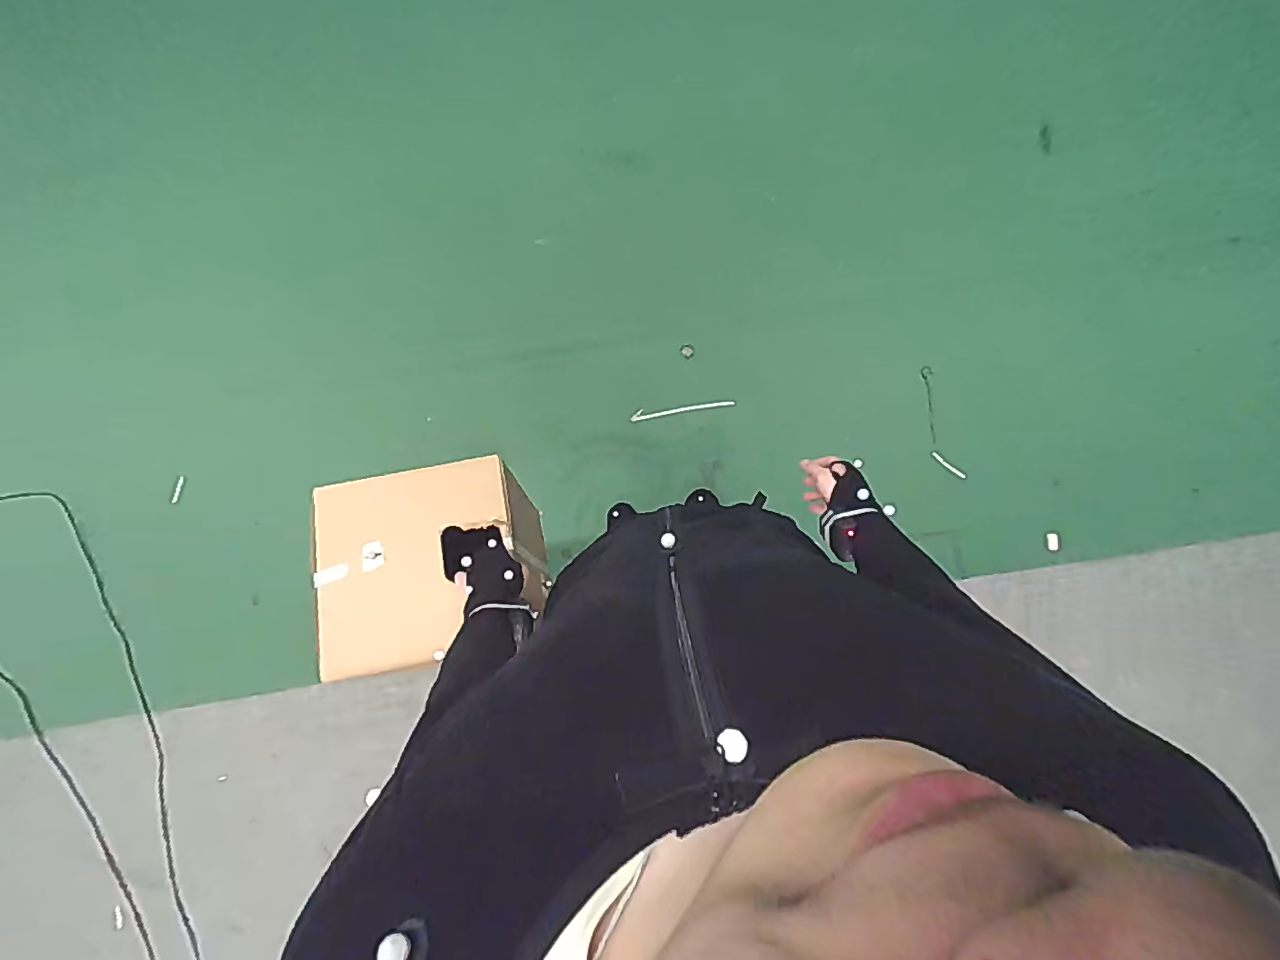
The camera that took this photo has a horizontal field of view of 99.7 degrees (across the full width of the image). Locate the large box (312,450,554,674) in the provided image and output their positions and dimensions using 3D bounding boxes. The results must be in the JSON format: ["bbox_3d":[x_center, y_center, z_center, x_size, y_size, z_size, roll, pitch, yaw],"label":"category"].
[{"bbox_3d":[-0.365,0.170,1.044,0.320,0.408,0.320,-10,75,-5],"label":"large box"}]
